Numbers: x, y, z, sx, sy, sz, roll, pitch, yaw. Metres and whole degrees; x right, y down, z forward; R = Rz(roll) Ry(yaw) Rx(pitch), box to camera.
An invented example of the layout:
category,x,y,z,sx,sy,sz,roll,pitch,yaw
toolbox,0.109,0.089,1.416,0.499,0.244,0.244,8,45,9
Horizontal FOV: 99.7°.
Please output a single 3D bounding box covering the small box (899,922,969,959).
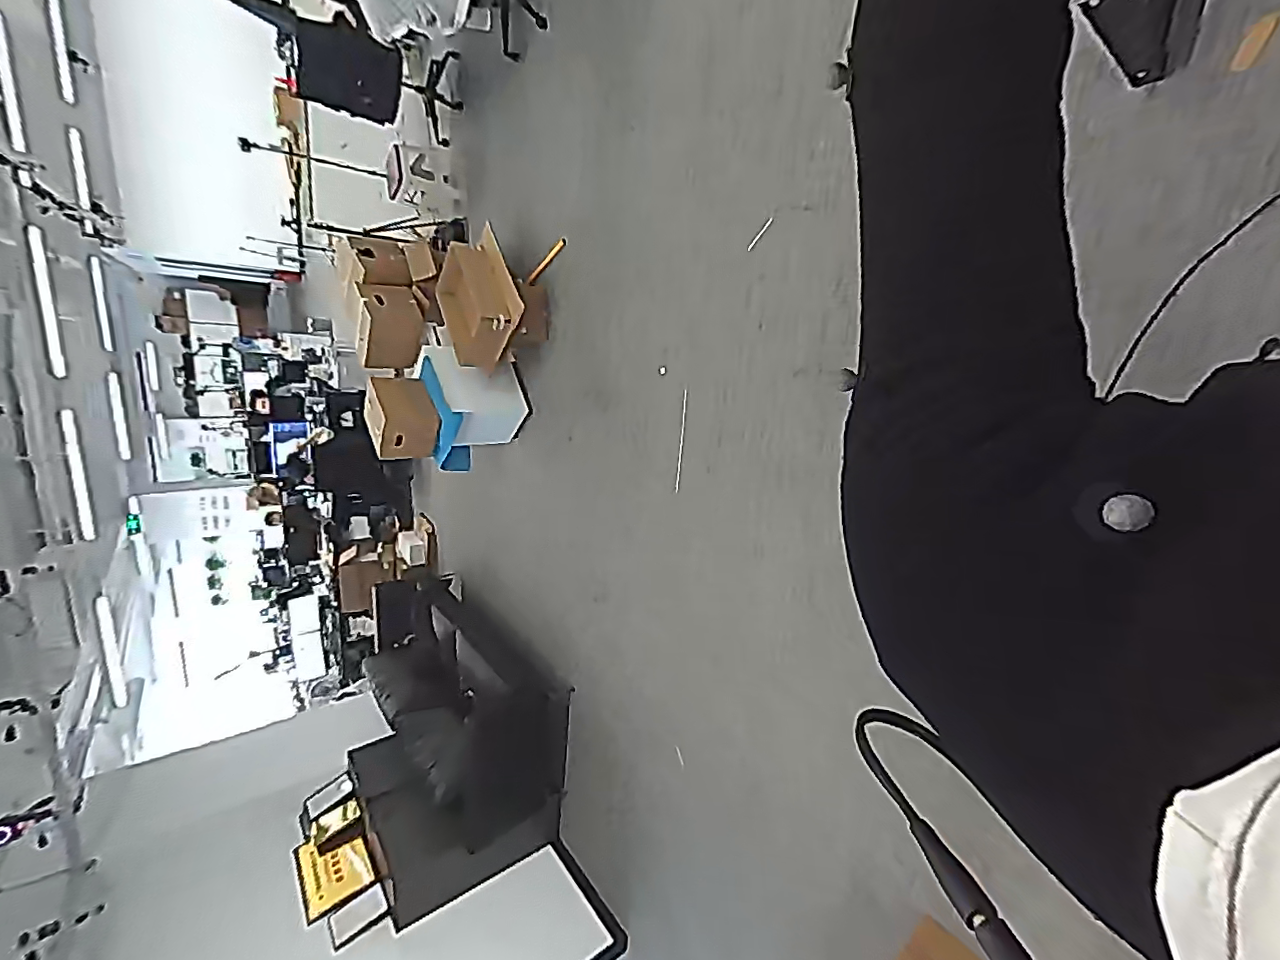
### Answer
category,x,y,z,sx,sy,sz,roll,pitch,yaw
small box,0.898,1.521,1.652,0.179,0.176,0.168,24,112,48
